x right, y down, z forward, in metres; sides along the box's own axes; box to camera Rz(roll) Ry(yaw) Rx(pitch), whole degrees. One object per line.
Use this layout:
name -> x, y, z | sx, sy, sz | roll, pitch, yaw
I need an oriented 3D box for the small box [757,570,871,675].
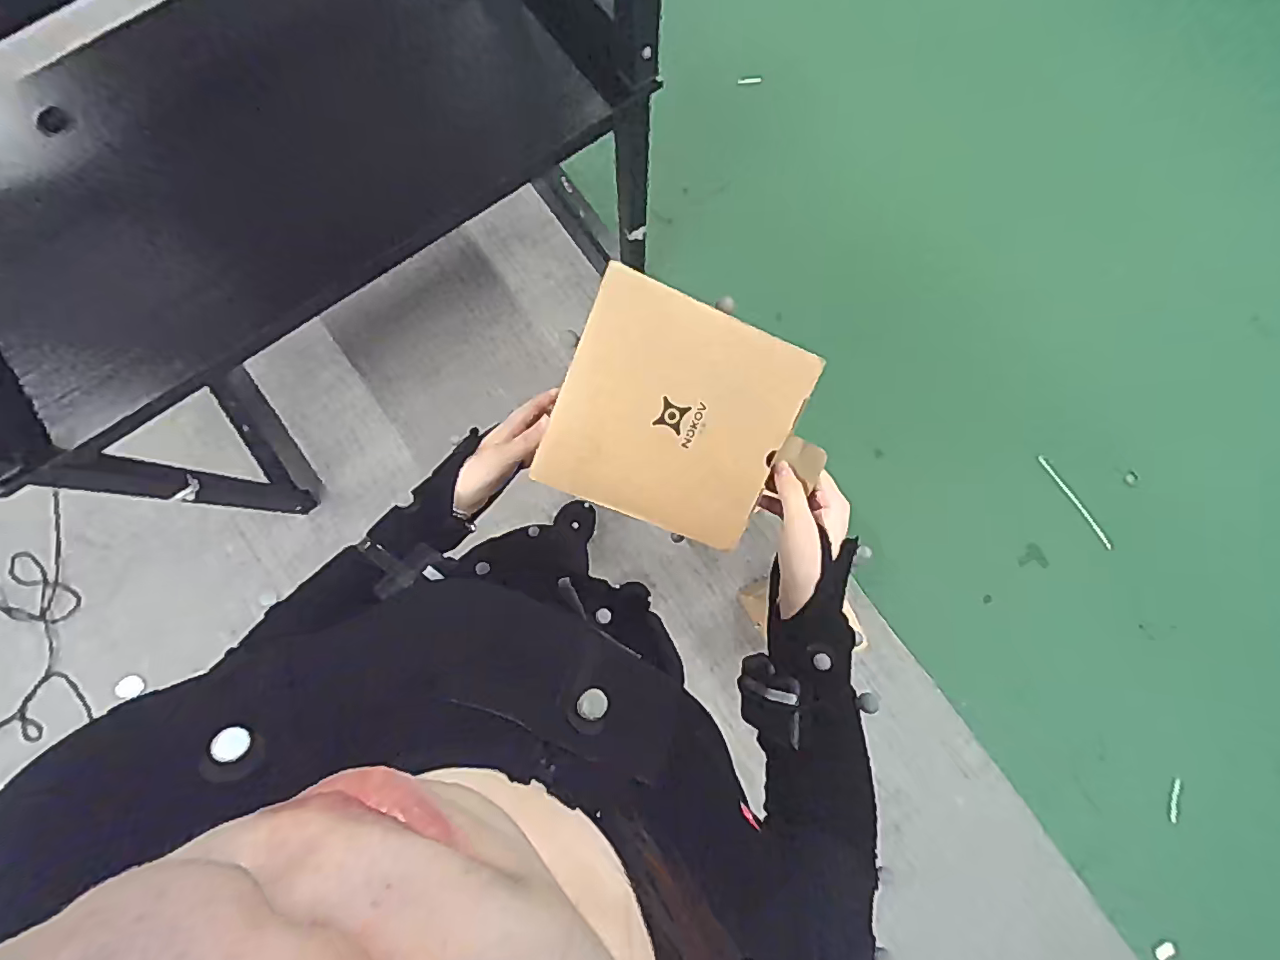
small box -> 0.388, 0.318, 1.241 | 0.168, 0.176, 0.179 | -24, 84, -2
